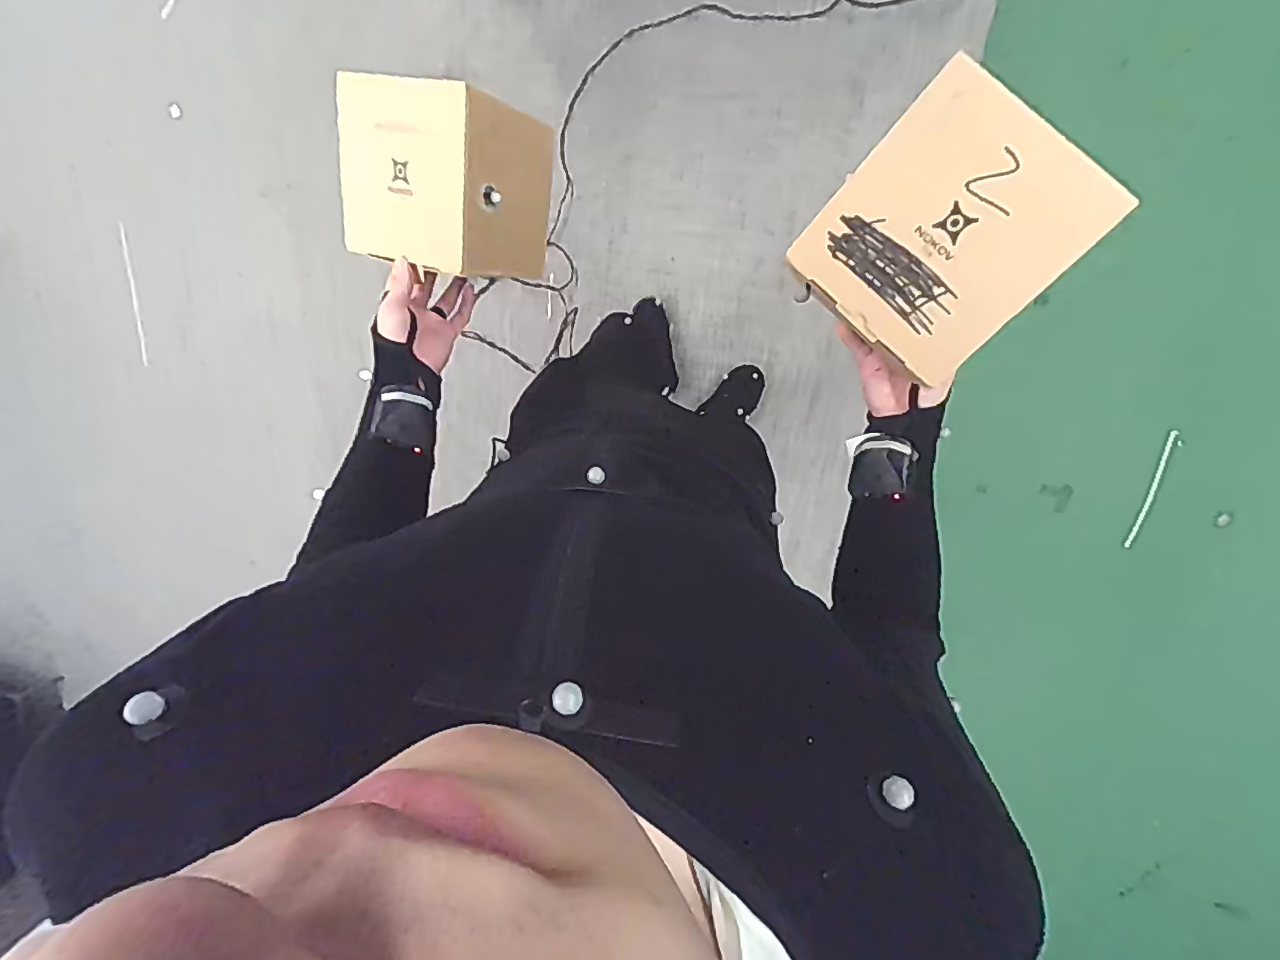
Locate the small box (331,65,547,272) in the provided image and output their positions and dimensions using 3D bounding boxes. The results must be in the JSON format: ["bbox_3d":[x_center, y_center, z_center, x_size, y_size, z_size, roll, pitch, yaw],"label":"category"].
[{"bbox_3d":[-0.223,-0.346,0.629,0.168,0.176,0.179,17,114,17],"label":"small box"}]
